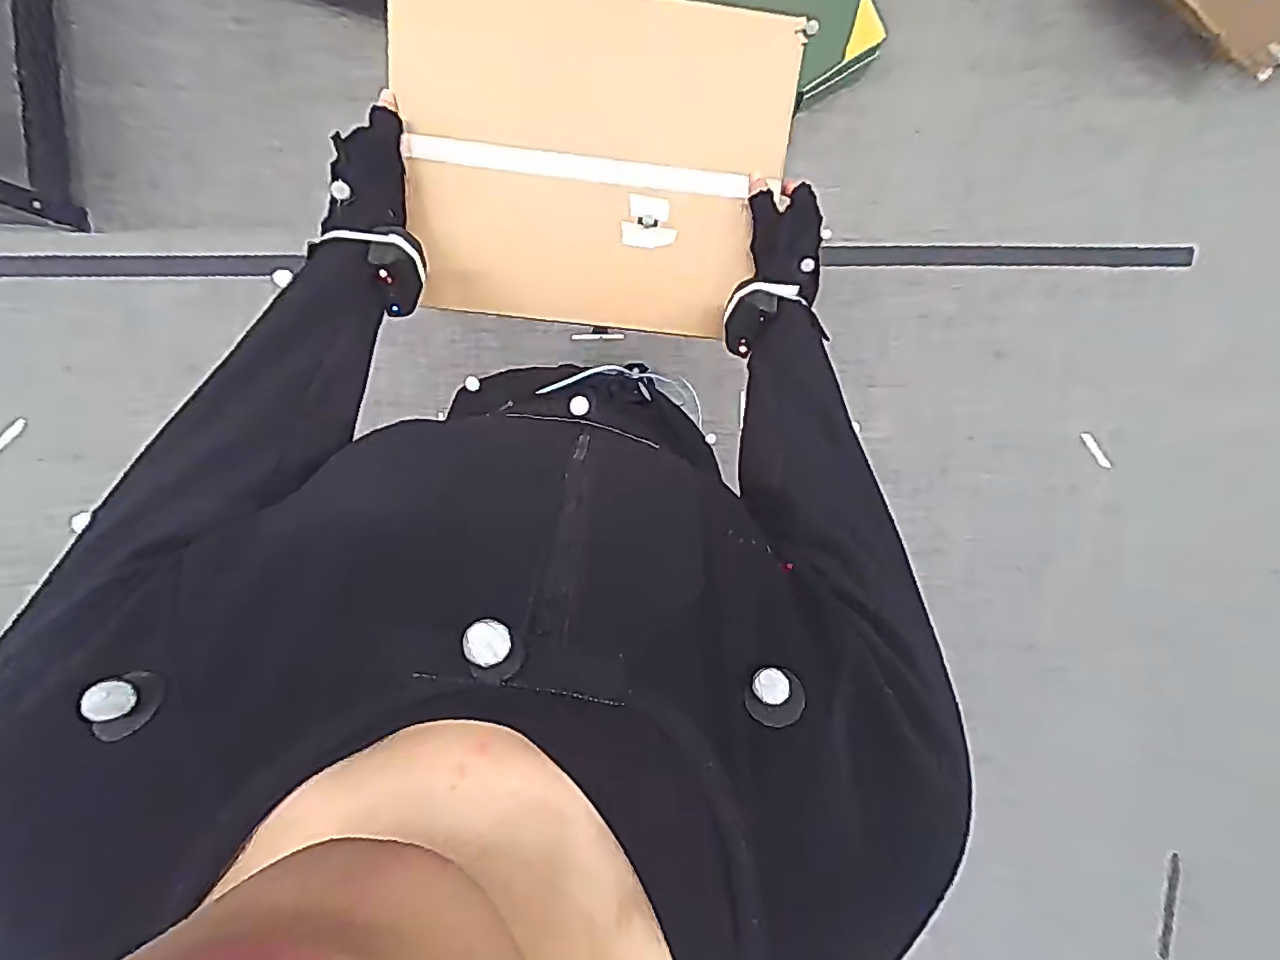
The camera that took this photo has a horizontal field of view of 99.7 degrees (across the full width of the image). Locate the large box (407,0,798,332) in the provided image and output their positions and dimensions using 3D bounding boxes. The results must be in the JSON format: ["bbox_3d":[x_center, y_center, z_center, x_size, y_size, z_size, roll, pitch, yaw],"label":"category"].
[{"bbox_3d":[-0.055,-0.378,0.728,0.408,0.320,0.320,4,108,-5],"label":"large box"}]
